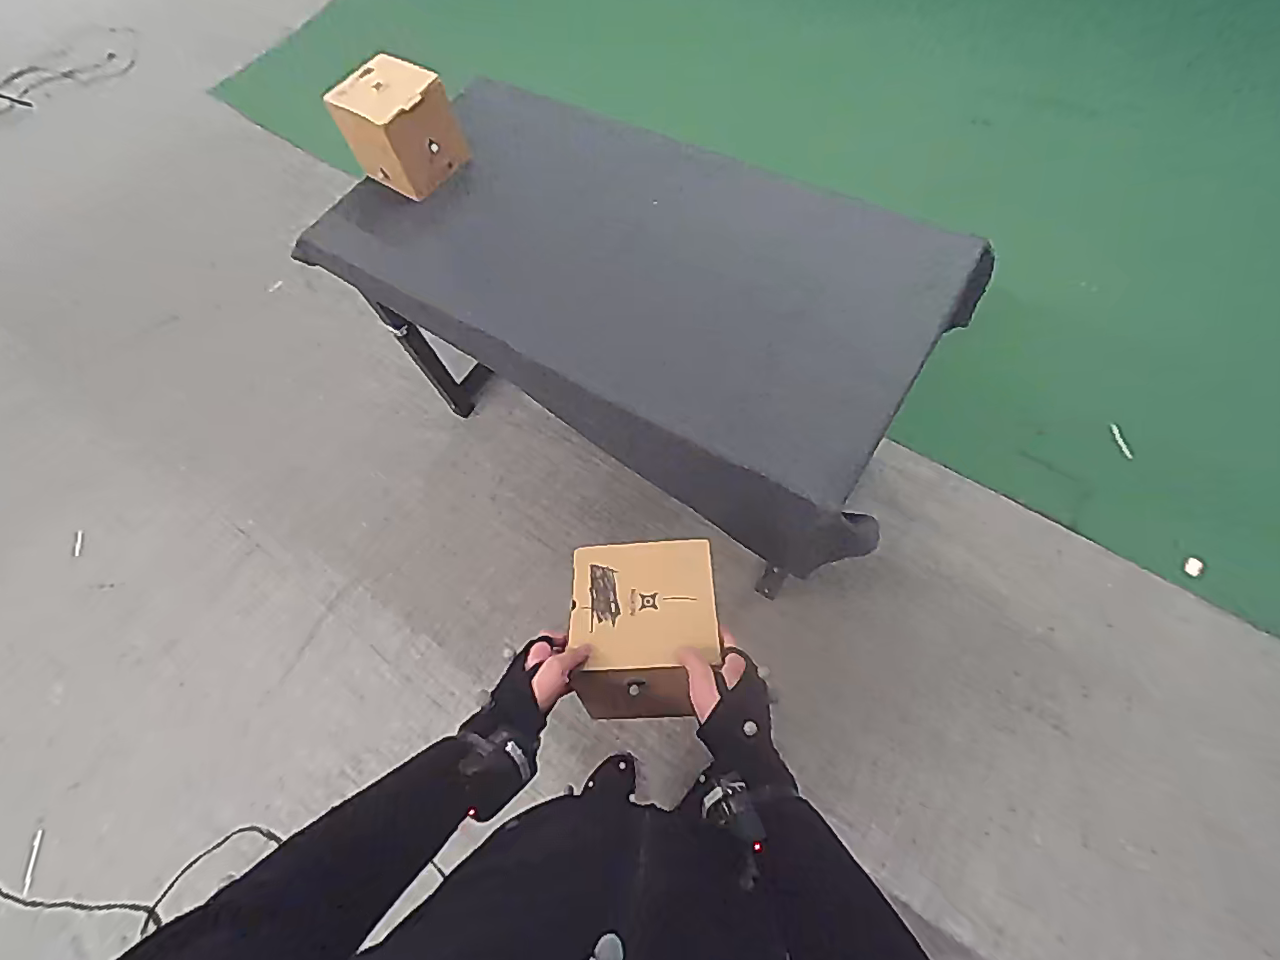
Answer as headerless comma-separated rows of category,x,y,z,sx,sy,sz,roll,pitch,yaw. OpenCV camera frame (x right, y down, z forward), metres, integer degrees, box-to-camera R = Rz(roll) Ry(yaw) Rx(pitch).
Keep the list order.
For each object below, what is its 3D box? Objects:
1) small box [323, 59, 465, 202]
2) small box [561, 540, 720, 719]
small box,-0.498,-0.718,1.125,0.179,0.176,0.168,32,73,17
small box,0.009,0.195,0.692,0.179,0.176,0.168,-4,49,4
